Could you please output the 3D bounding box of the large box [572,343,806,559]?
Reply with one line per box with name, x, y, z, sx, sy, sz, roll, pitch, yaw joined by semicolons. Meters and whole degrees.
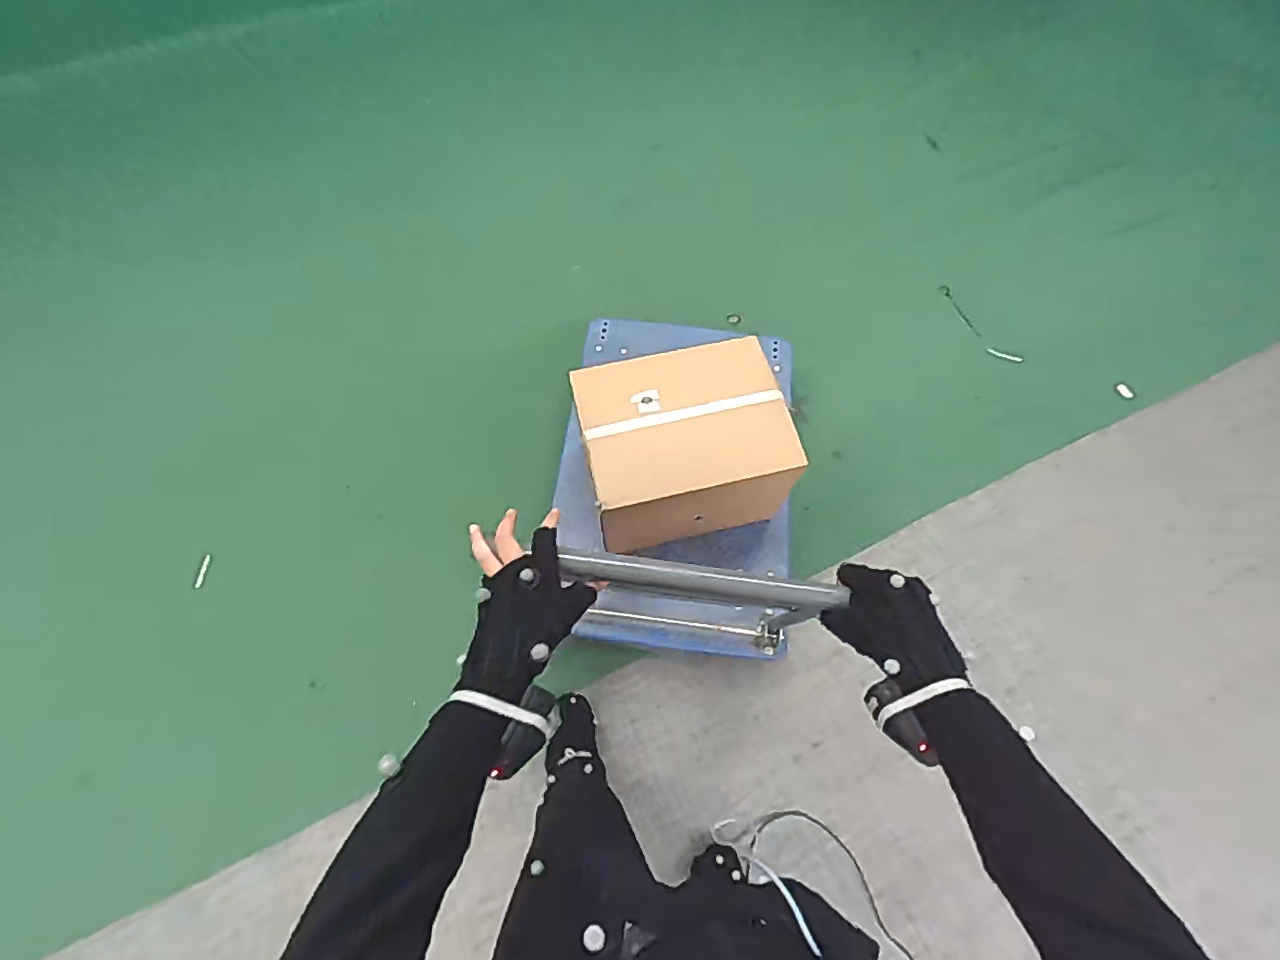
large box;0.091;-0.050;1.198;0.408;0.320;0.320;-13;67;-5
